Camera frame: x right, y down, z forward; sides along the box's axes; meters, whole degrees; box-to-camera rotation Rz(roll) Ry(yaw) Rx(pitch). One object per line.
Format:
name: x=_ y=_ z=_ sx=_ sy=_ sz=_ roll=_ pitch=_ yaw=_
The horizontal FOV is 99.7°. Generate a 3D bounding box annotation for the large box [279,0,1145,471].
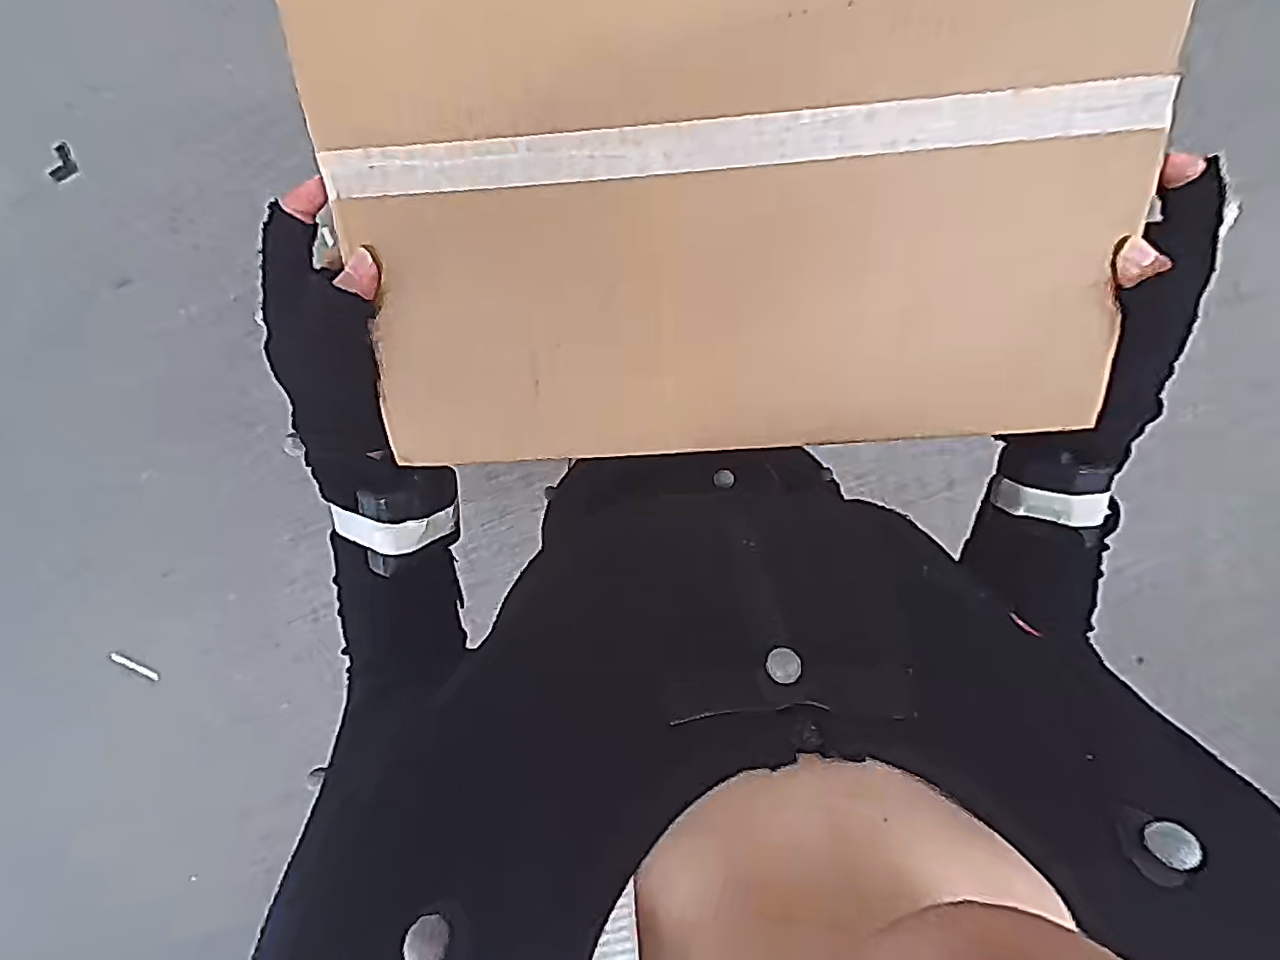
large box: x=0.039 y=-0.219 z=0.411 sx=0.408 sy=0.320 sz=0.320 roll=-4 pitch=111 yaw=3
